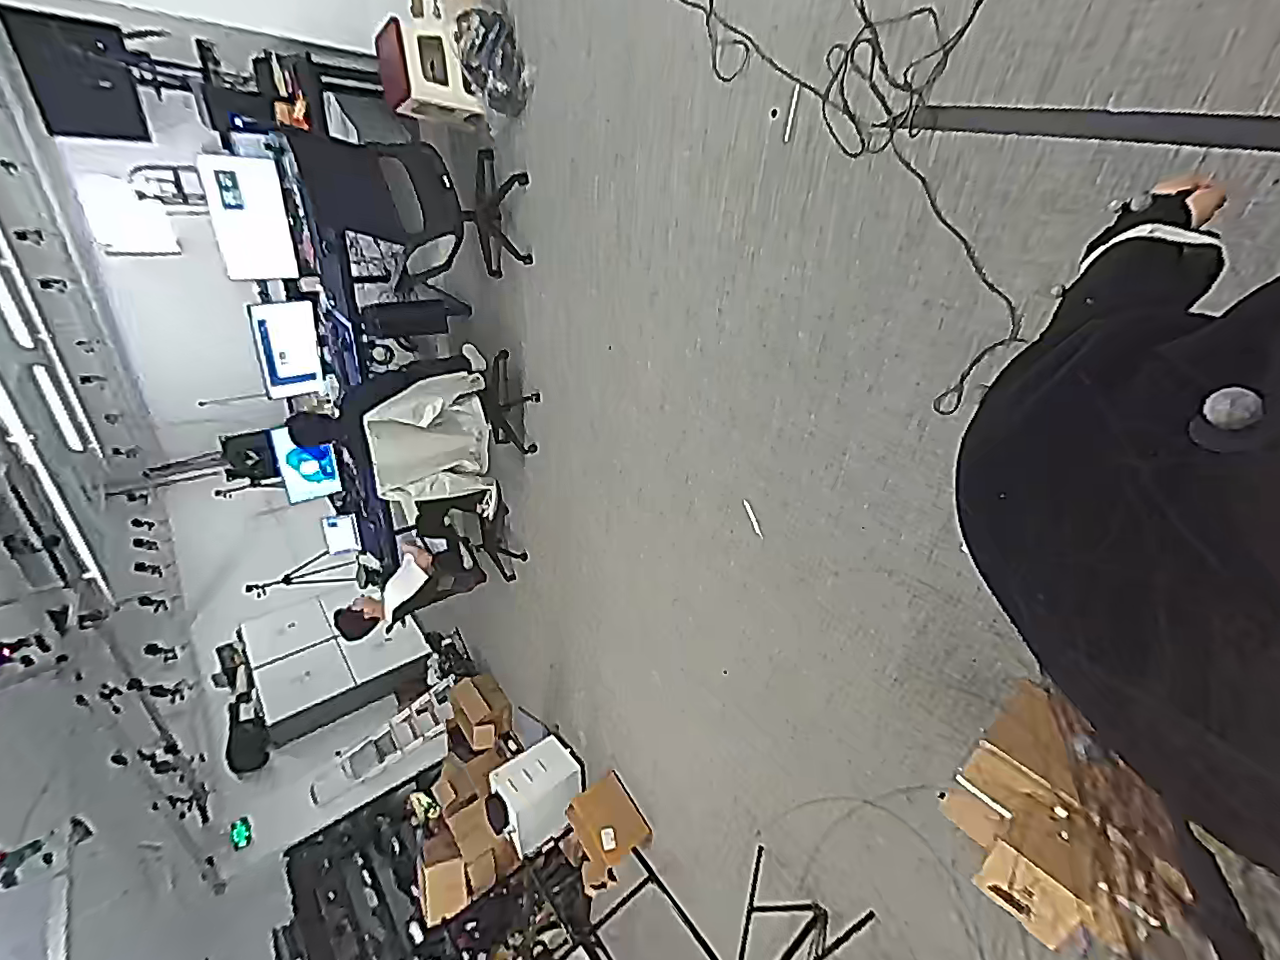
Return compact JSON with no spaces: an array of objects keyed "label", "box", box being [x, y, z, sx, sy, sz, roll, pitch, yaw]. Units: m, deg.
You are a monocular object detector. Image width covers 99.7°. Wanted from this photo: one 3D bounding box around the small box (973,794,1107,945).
[{"label":"small box","box":[0.877,0.844,1.185,0.168,0.176,0.179,32,128,40]}]
